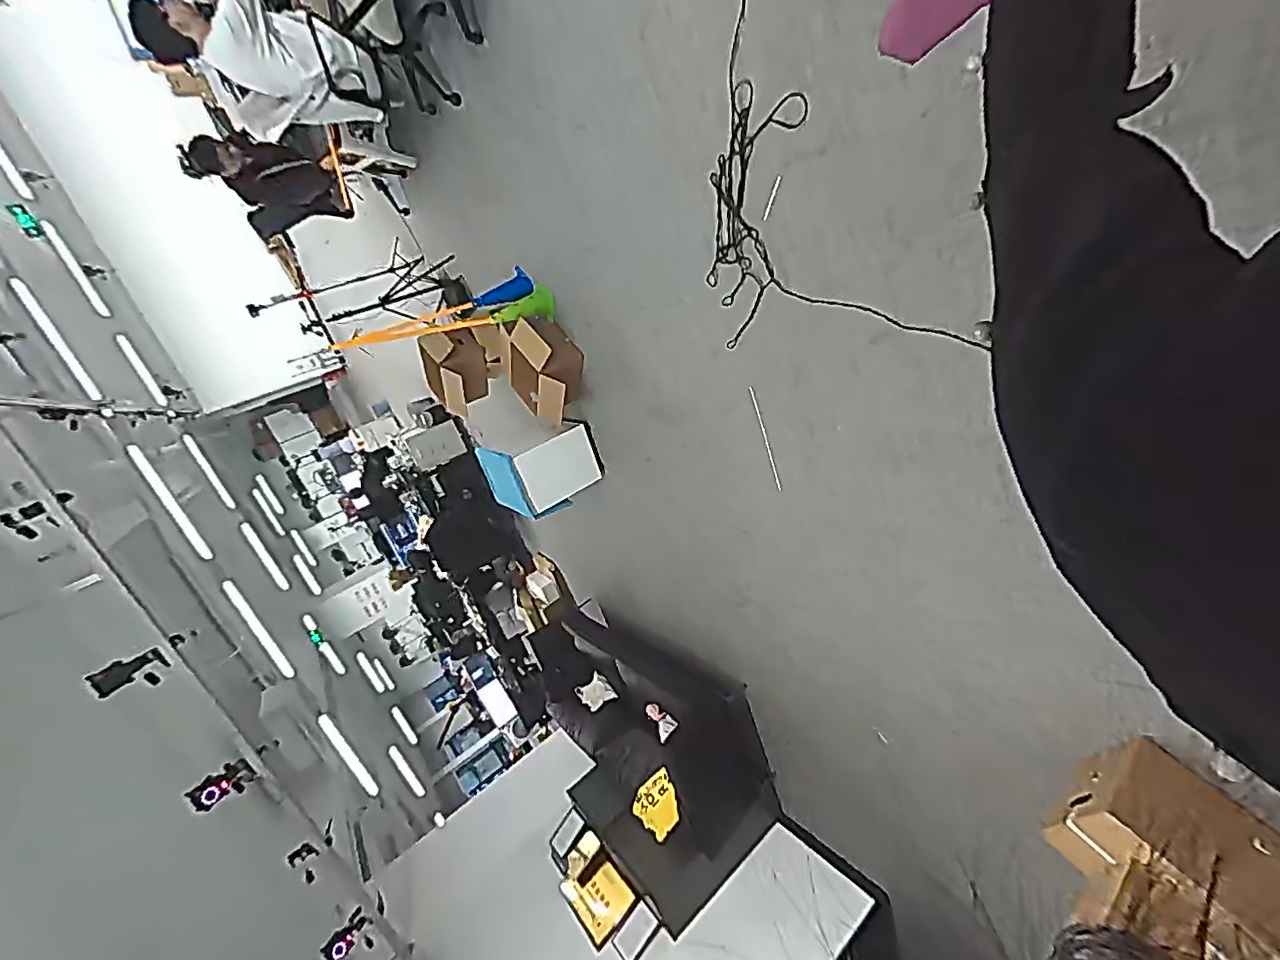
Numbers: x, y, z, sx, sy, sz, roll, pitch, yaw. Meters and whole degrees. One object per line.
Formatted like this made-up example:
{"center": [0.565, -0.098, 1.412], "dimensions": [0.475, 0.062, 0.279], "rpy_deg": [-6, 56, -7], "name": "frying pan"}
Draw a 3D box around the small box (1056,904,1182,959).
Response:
{"center": [1.188, 1.193, 1.321], "dimensions": [0.179, 0.176, 0.168], "rpy_deg": [43, 149, 32], "name": "small box"}
